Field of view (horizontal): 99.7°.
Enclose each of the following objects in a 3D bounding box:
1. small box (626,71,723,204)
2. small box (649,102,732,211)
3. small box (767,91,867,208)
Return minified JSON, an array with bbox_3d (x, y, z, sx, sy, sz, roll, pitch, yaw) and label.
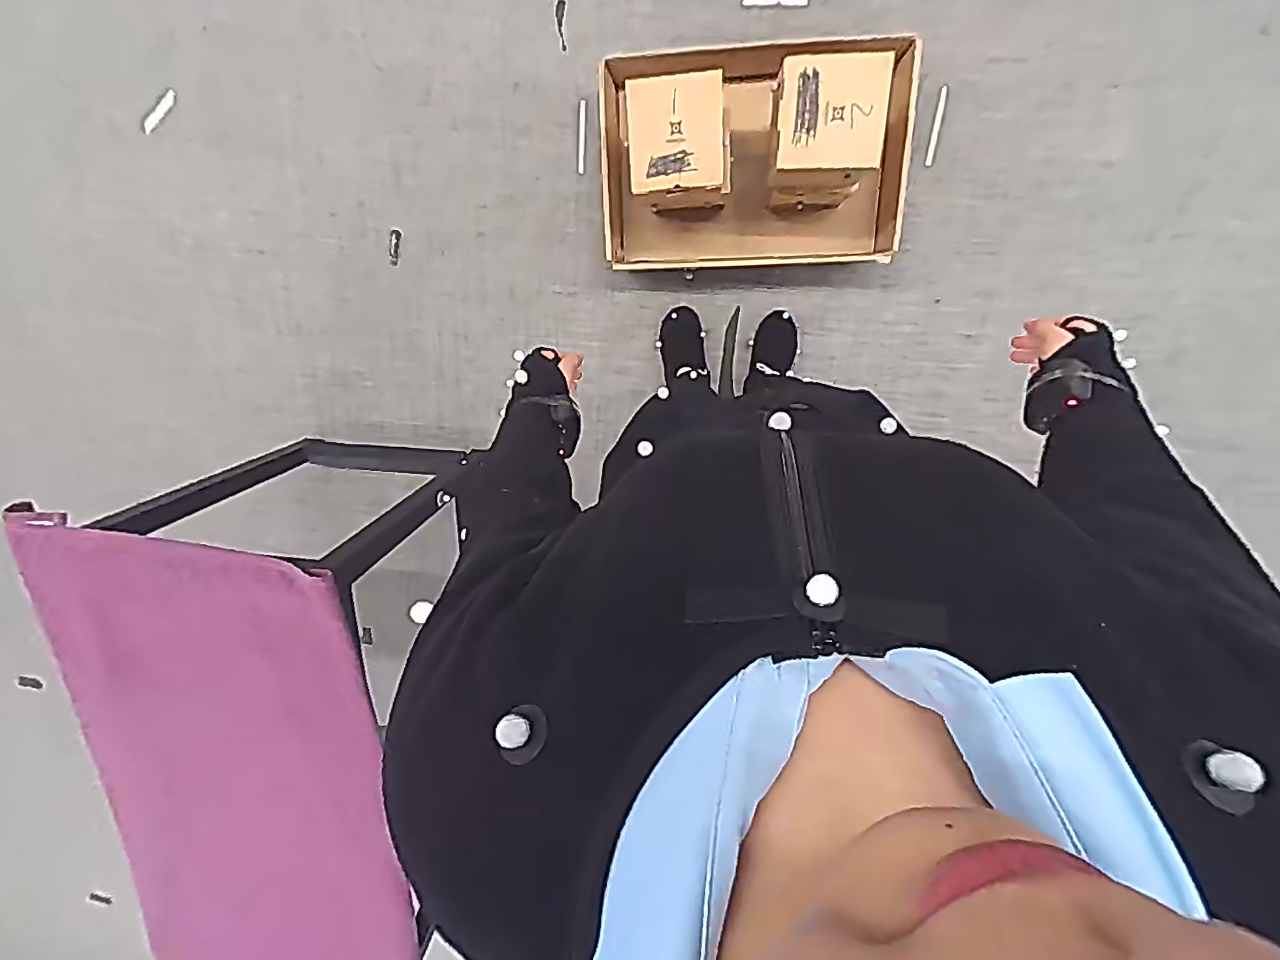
[{"bbox_3d":[0.069,-0.623,1.008,0.168,0.176,0.179,-2,108,6],"label":"small box"},{"bbox_3d":[0.102,-0.684,1.159,0.179,0.176,0.168,-1,108,6],"label":"small box"},{"bbox_3d":[0.360,-0.681,1.133,0.168,0.176,0.179,1,110,7],"label":"small box"}]
